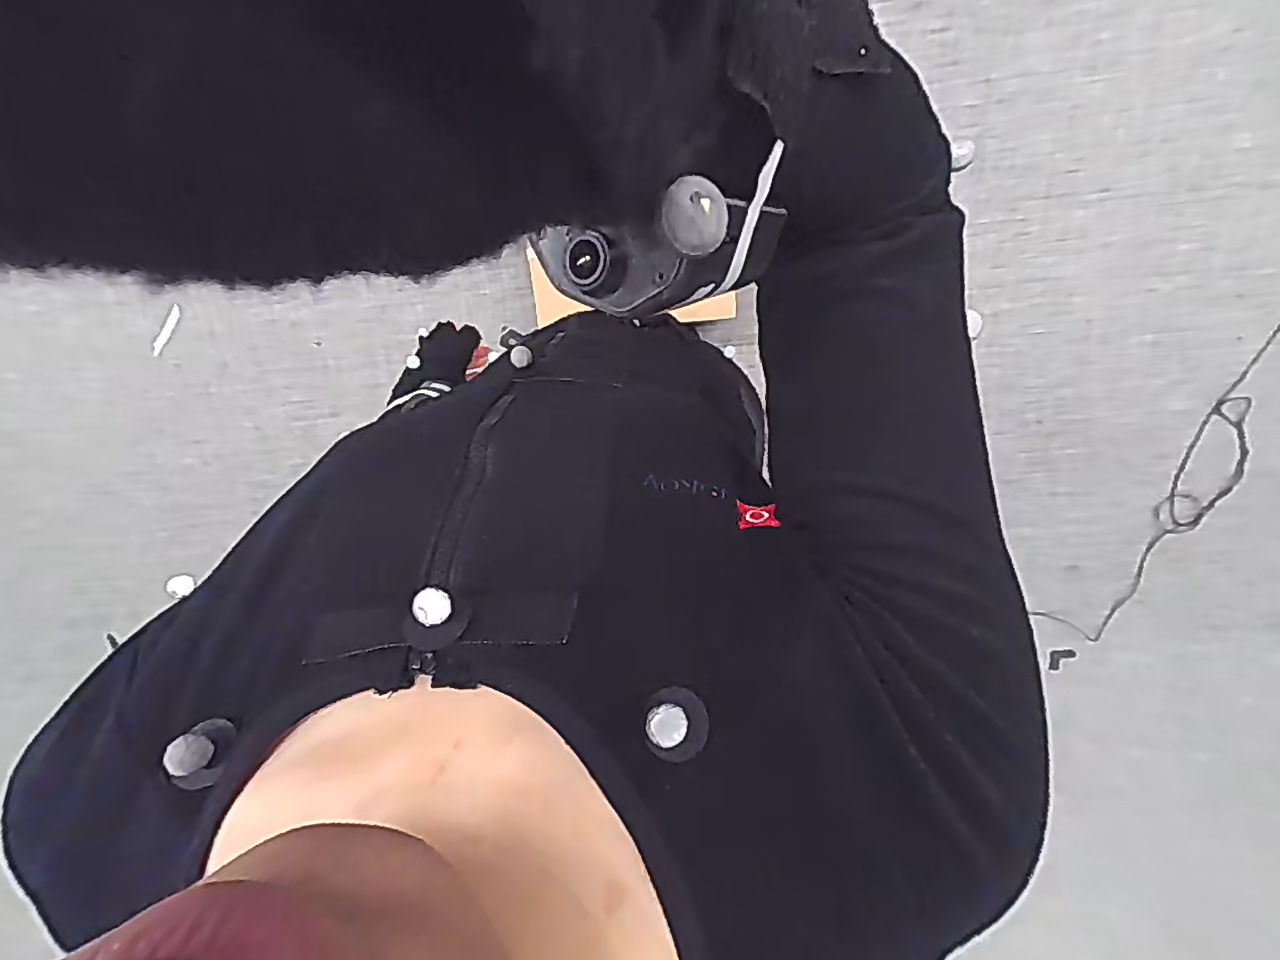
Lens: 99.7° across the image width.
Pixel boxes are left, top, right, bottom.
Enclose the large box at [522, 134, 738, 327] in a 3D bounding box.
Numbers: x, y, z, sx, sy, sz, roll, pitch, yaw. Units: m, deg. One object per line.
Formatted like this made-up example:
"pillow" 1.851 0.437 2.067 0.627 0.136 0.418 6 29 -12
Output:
"large box" -0.009 -0.519 1.196 0.408 0.320 0.320 -4 107 4
